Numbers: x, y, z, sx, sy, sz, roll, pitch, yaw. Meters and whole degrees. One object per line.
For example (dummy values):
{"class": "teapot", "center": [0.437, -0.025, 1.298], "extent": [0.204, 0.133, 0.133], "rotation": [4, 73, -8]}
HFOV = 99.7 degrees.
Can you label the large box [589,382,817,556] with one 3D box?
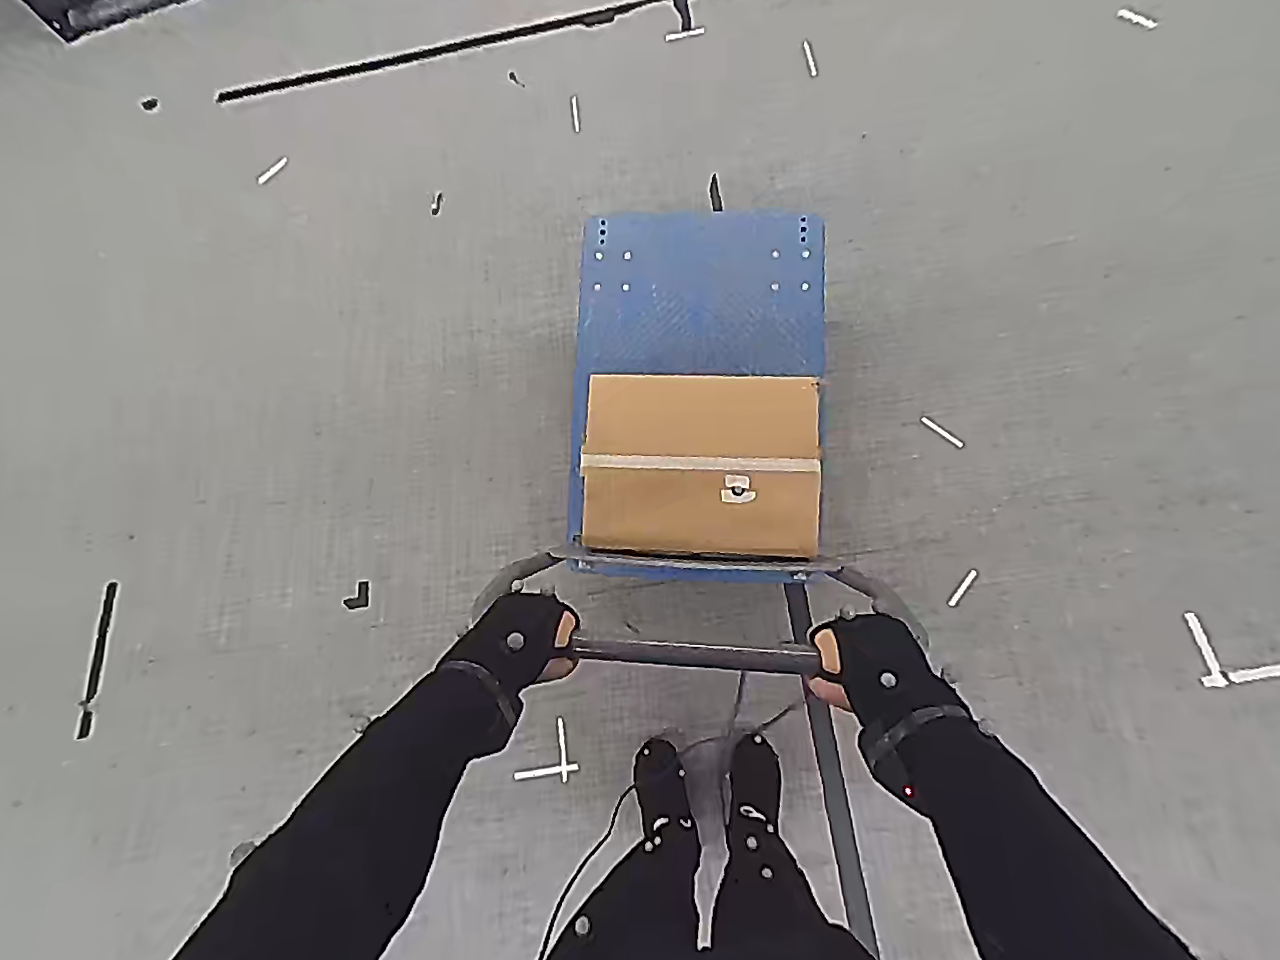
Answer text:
{"class": "large box", "center": [0.119, -0.006, 1.106], "extent": [0.408, 0.320, 0.320], "rotation": [1, 84, 5]}
